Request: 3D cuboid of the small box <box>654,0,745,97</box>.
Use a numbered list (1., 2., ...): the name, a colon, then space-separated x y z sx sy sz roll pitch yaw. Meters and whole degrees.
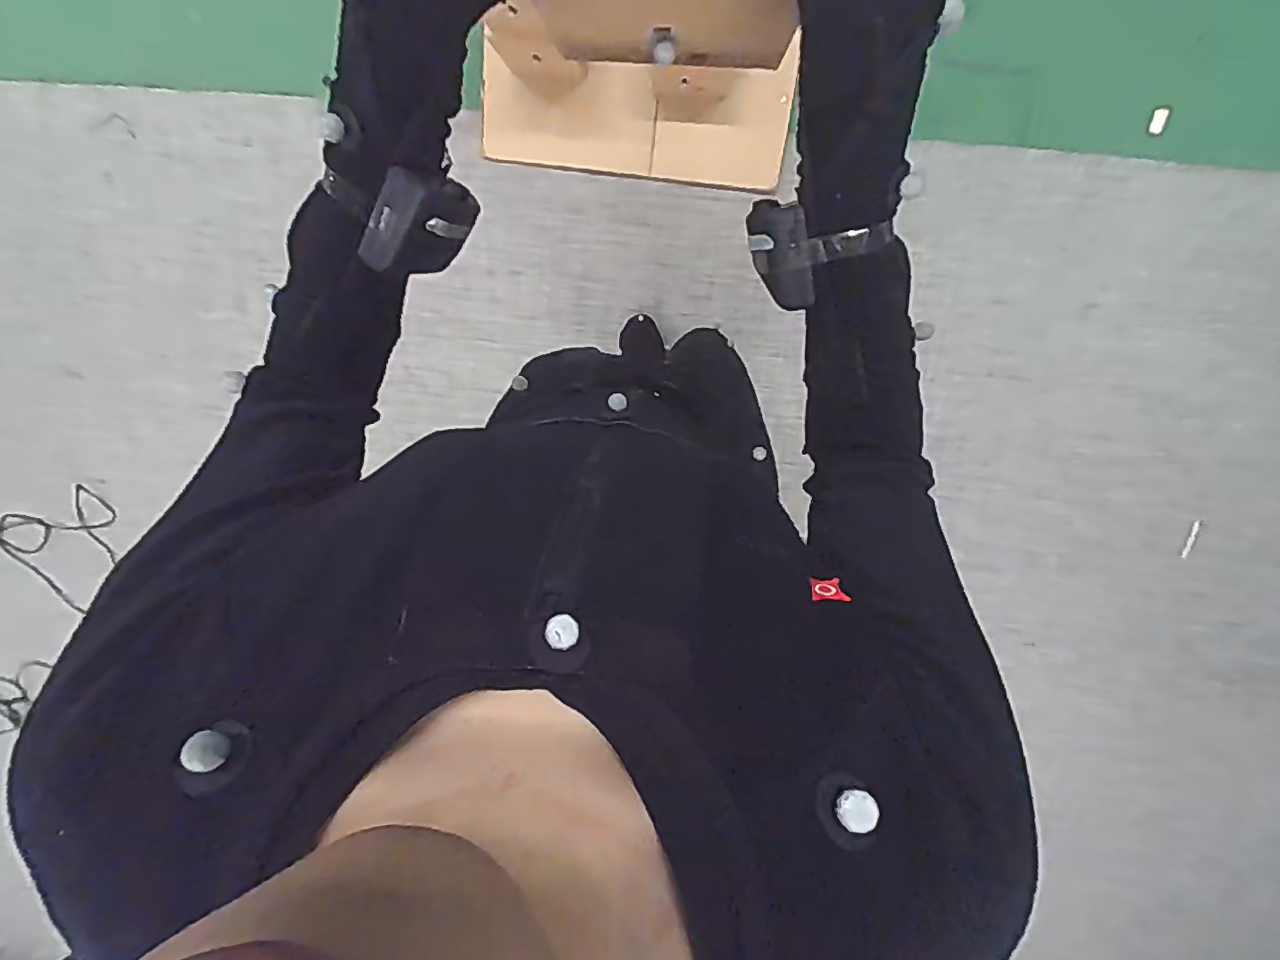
1. small box: 0.119 -0.919 1.102 0.168 0.176 0.179 6 108 2
